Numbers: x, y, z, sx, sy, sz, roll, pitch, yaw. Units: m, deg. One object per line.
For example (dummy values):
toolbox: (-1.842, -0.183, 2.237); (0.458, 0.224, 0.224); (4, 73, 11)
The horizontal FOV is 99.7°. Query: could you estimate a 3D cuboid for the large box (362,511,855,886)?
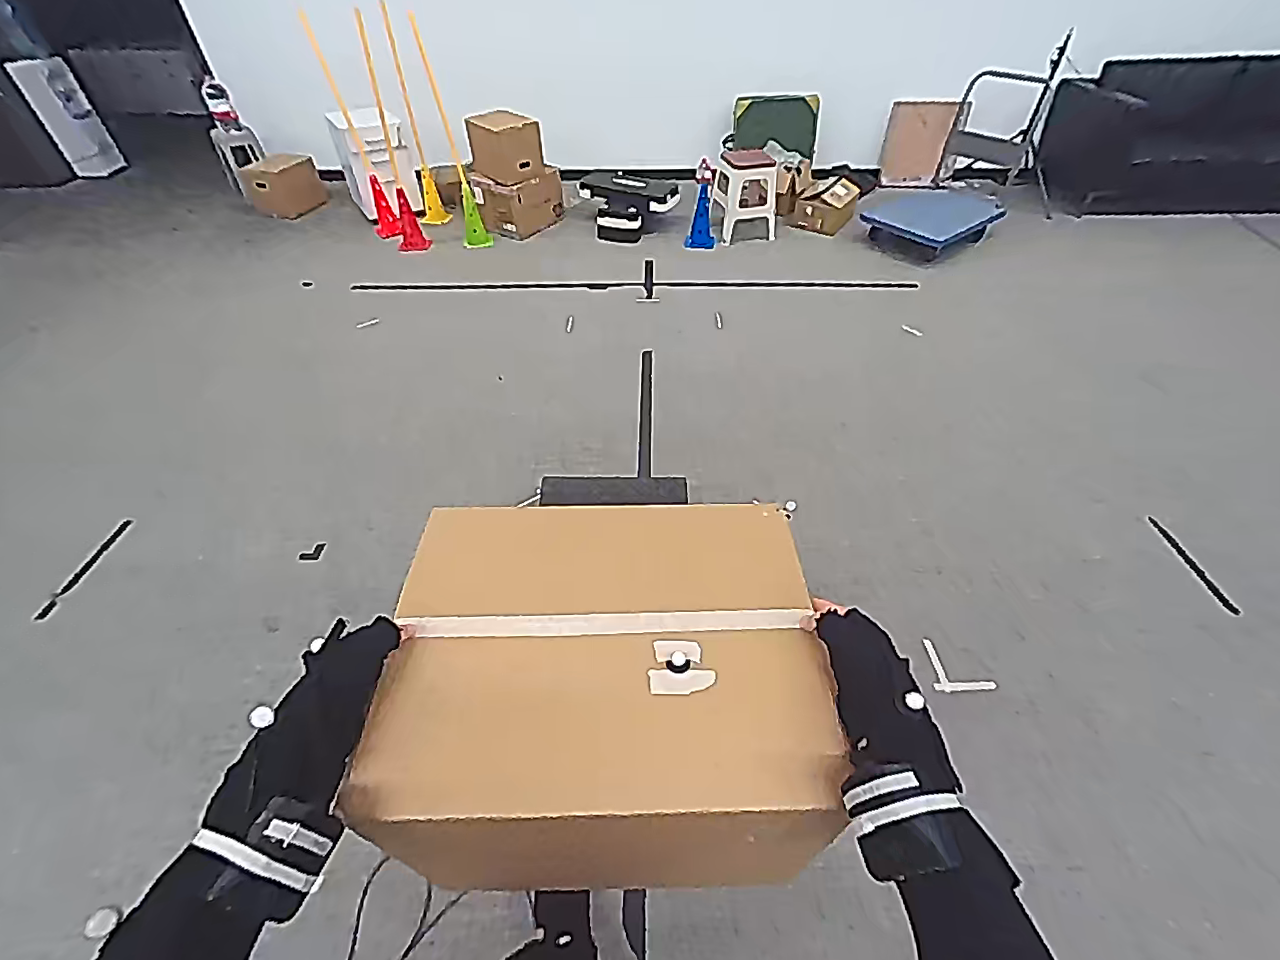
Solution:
large box: (-0.029, 0.253, 0.636); (0.408, 0.320, 0.320); (-1, 45, -1)
